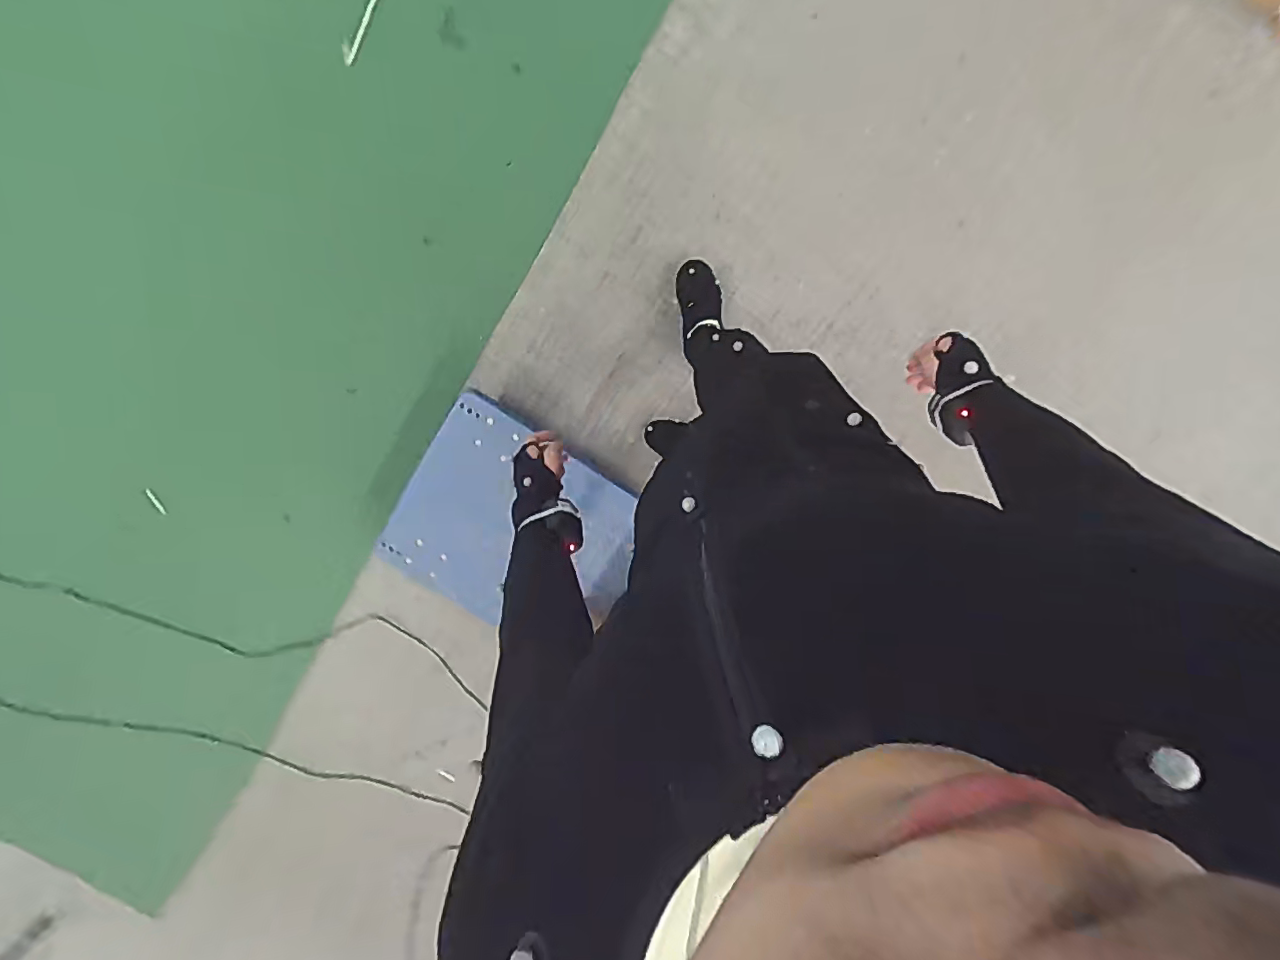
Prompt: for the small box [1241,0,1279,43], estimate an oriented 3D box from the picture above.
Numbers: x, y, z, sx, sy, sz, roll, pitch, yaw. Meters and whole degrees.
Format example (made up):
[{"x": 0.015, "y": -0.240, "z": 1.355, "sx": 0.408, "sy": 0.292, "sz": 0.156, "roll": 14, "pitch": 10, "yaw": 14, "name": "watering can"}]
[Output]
[{"x": 1.518, "y": -1.136, "z": 1.189, "sx": 0.168, "sy": 0.176, "sz": 0.179, "roll": 45, "pitch": 103, "yaw": -6, "name": "small box"}]
